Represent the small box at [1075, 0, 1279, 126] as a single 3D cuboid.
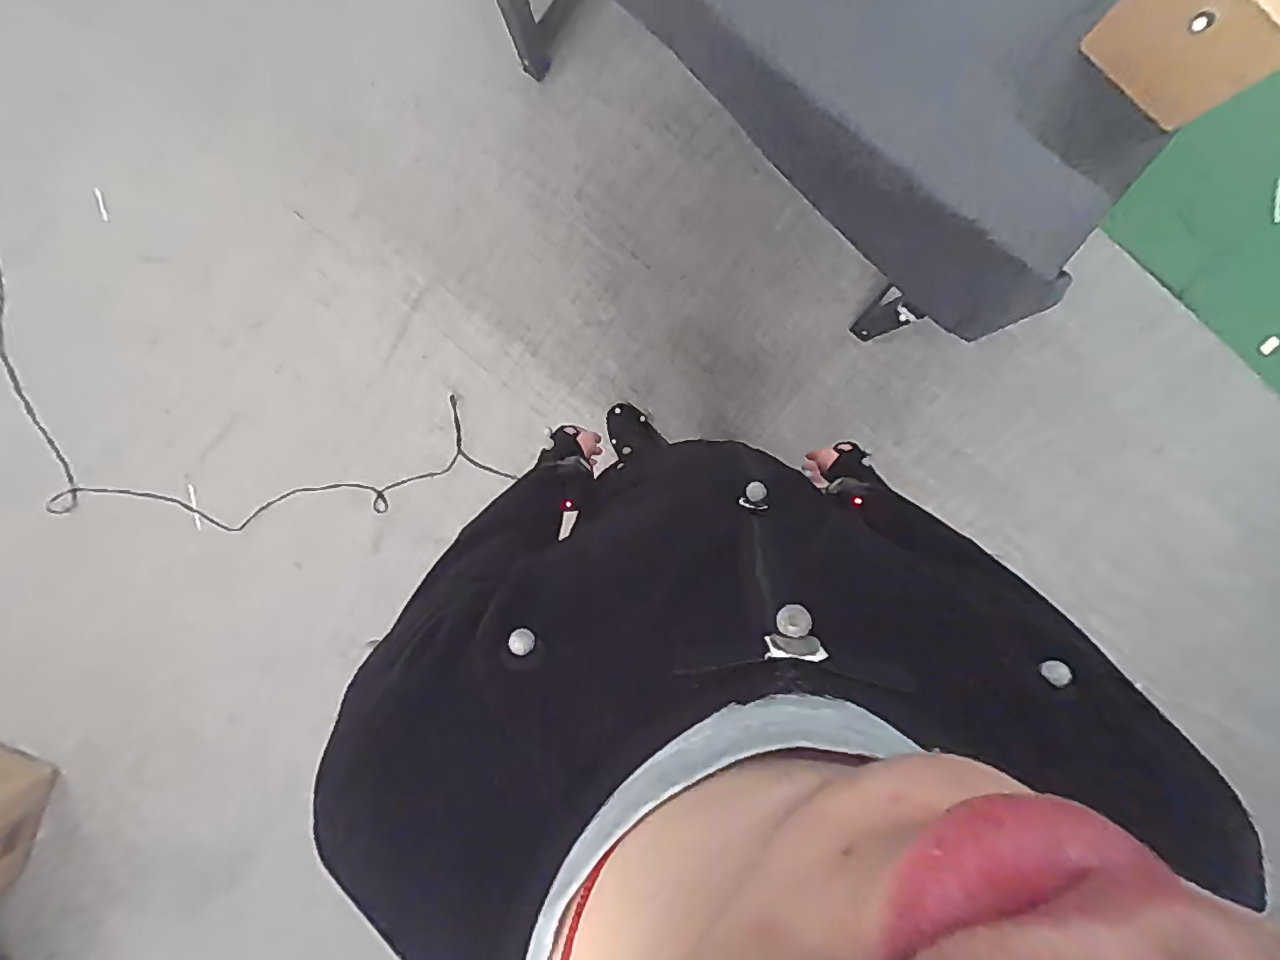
[{"bbox_3d":[0.709,-0.593,0.669,0.179,0.176,0.168,40,94,-4],"label":"small box"}]
